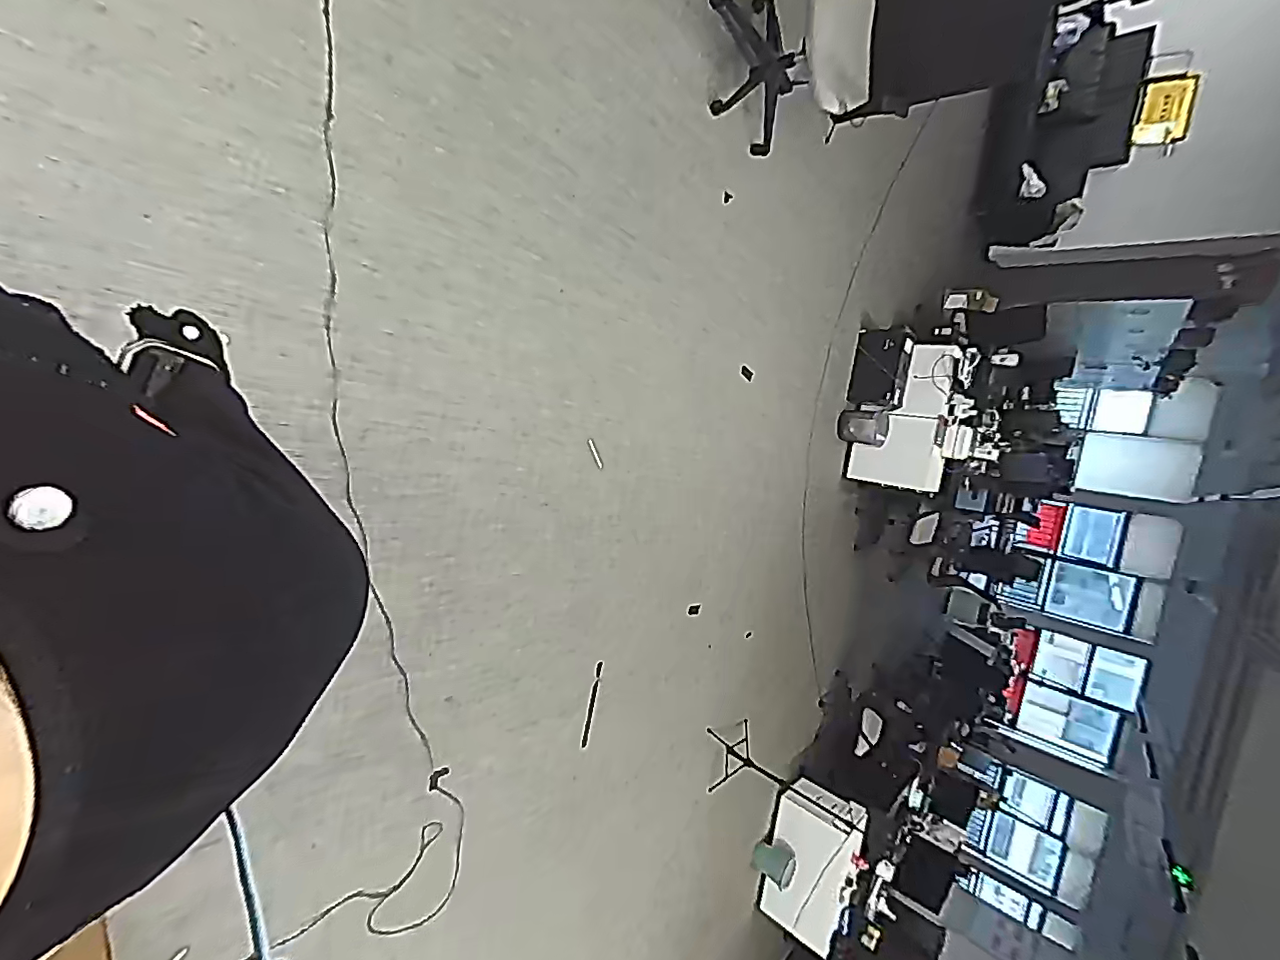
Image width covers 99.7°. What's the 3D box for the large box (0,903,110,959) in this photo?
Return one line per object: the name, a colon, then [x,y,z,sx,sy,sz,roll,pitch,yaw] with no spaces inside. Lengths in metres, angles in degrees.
large box: [-1.277,1.102,0.985,0.408,0.320,0.320,12,91,-51]
